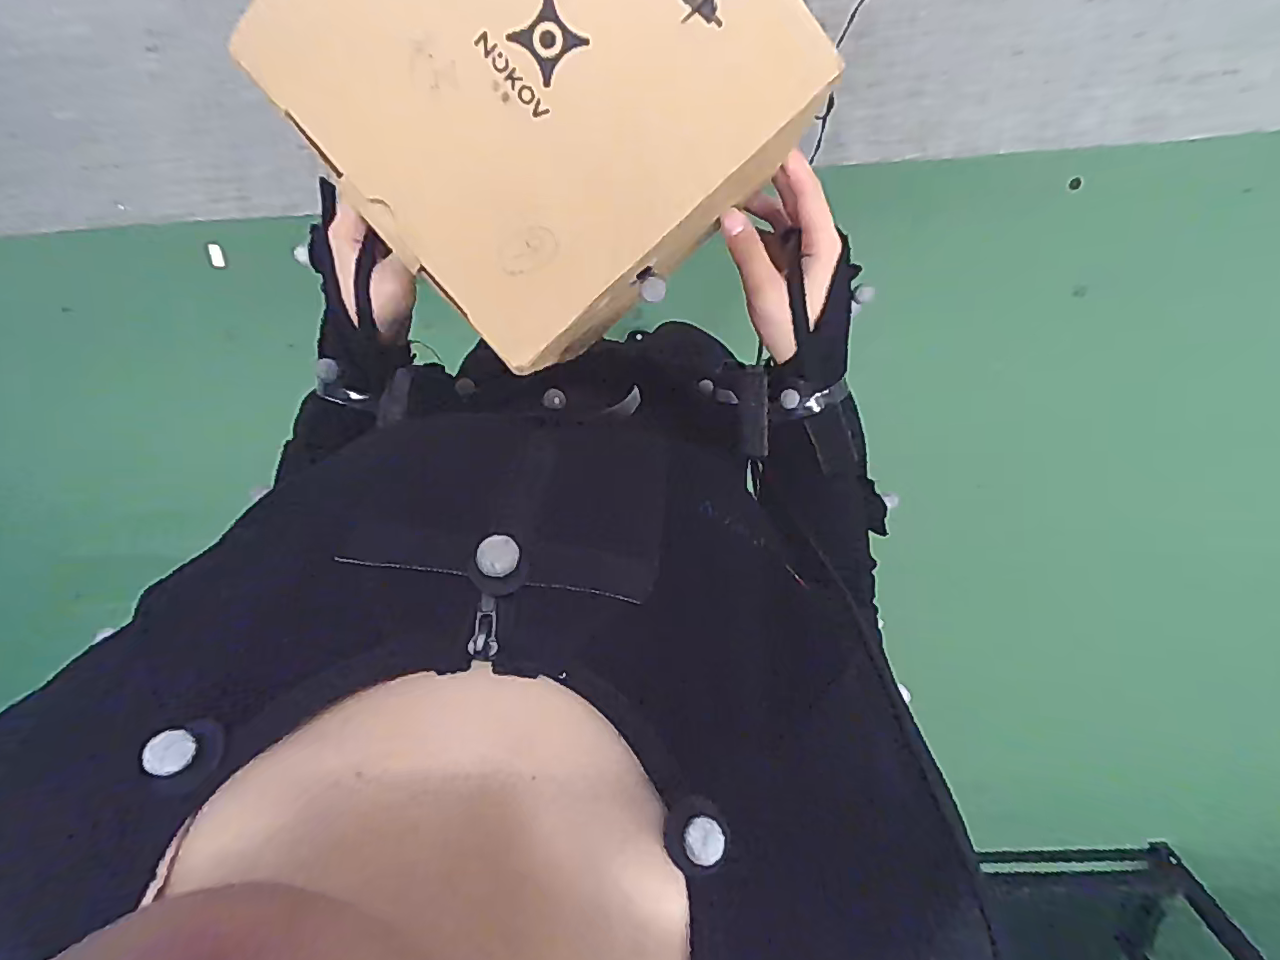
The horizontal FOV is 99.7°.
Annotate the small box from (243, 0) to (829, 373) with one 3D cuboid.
[{"bbox_3d":[-0.037,-0.177,0.286,0.179,0.176,0.168,-39,100,12],"label":"small box"}]
